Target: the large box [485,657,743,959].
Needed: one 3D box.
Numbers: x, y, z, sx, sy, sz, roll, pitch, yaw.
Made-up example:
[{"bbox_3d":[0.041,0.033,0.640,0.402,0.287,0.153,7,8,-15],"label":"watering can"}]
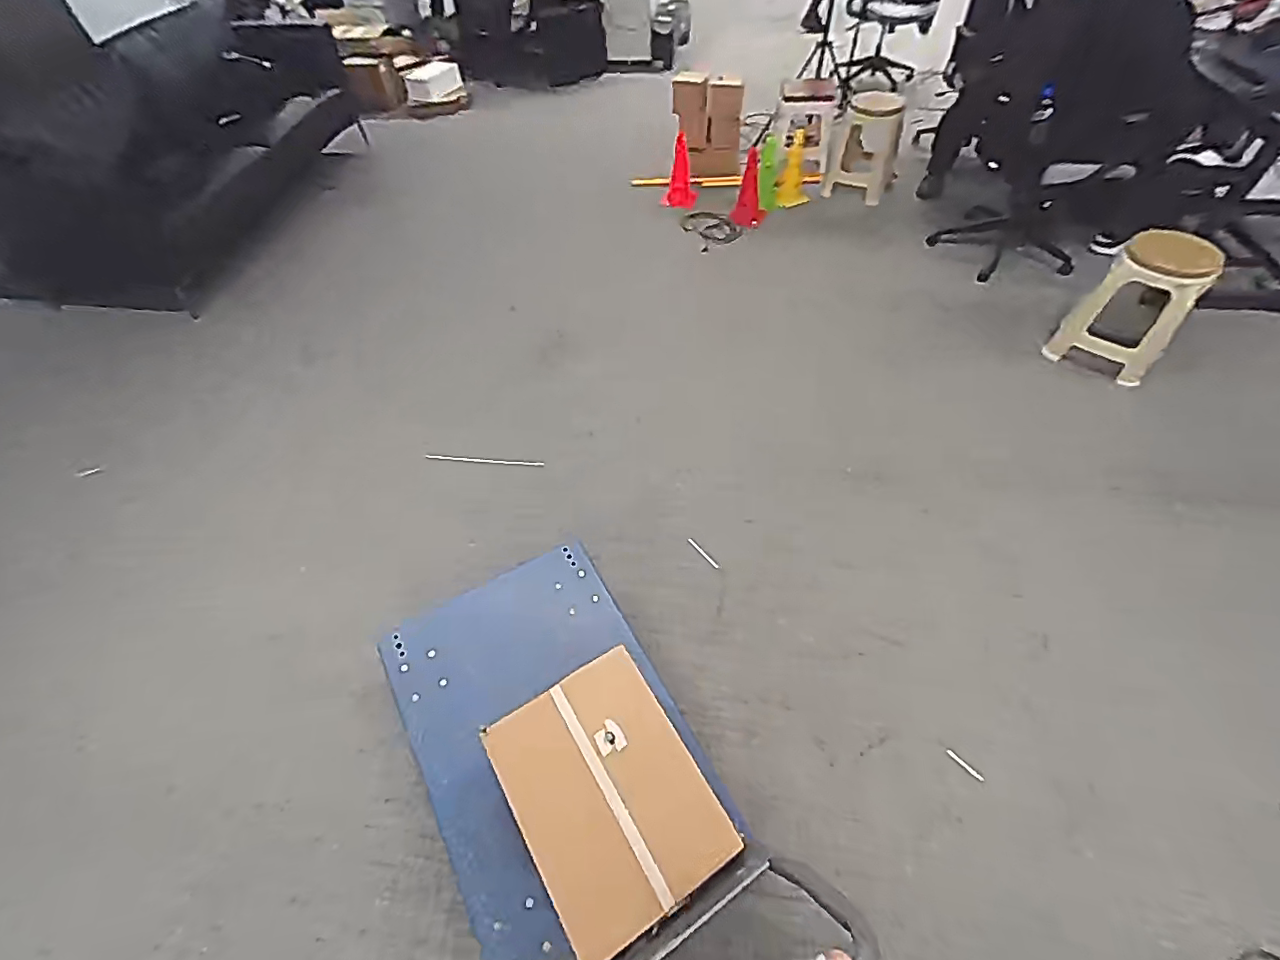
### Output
[{"bbox_3d":[-0.056,0.646,1.096,0.320,0.320,0.408,-28,63,-18],"label":"large box"}]
